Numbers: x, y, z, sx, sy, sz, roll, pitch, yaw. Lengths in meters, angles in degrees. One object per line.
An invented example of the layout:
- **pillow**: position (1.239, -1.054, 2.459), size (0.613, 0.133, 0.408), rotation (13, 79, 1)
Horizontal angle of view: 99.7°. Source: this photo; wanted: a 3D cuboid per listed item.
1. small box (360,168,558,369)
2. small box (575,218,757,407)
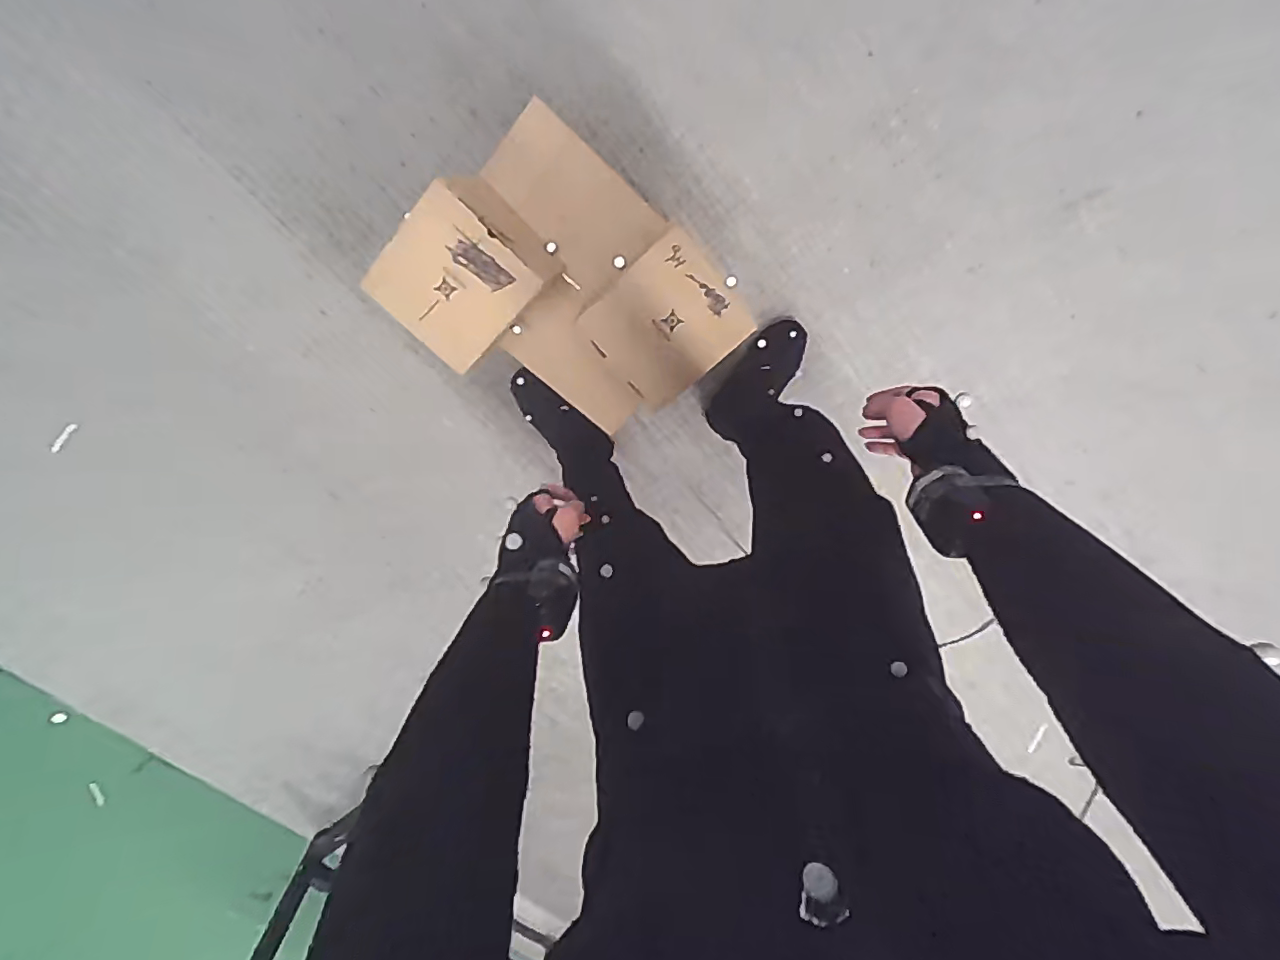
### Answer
- **small box**: position (-0.227, -0.286, 0.731), size (0.179, 0.176, 0.168), rotation (-39, 109, 20)
- **small box**: position (0.034, -0.235, 0.755), size (0.179, 0.176, 0.168), rotation (-38, 109, 15)
